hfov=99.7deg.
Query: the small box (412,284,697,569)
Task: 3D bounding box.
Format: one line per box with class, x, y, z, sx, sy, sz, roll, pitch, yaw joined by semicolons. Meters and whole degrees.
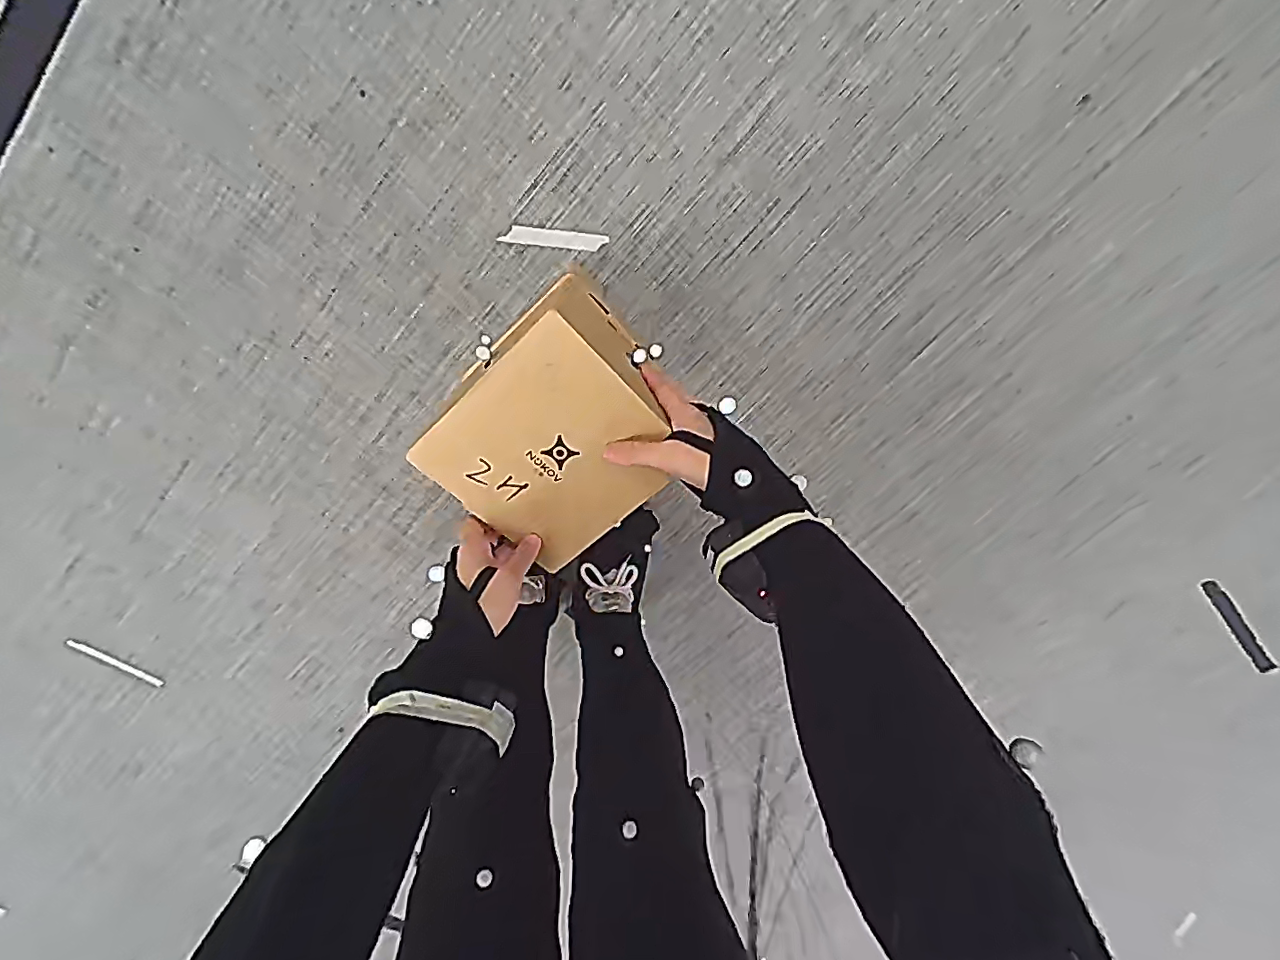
small box;-0.073;-0.058;0.511;0.179;0.176;0.168;-39;113;17
